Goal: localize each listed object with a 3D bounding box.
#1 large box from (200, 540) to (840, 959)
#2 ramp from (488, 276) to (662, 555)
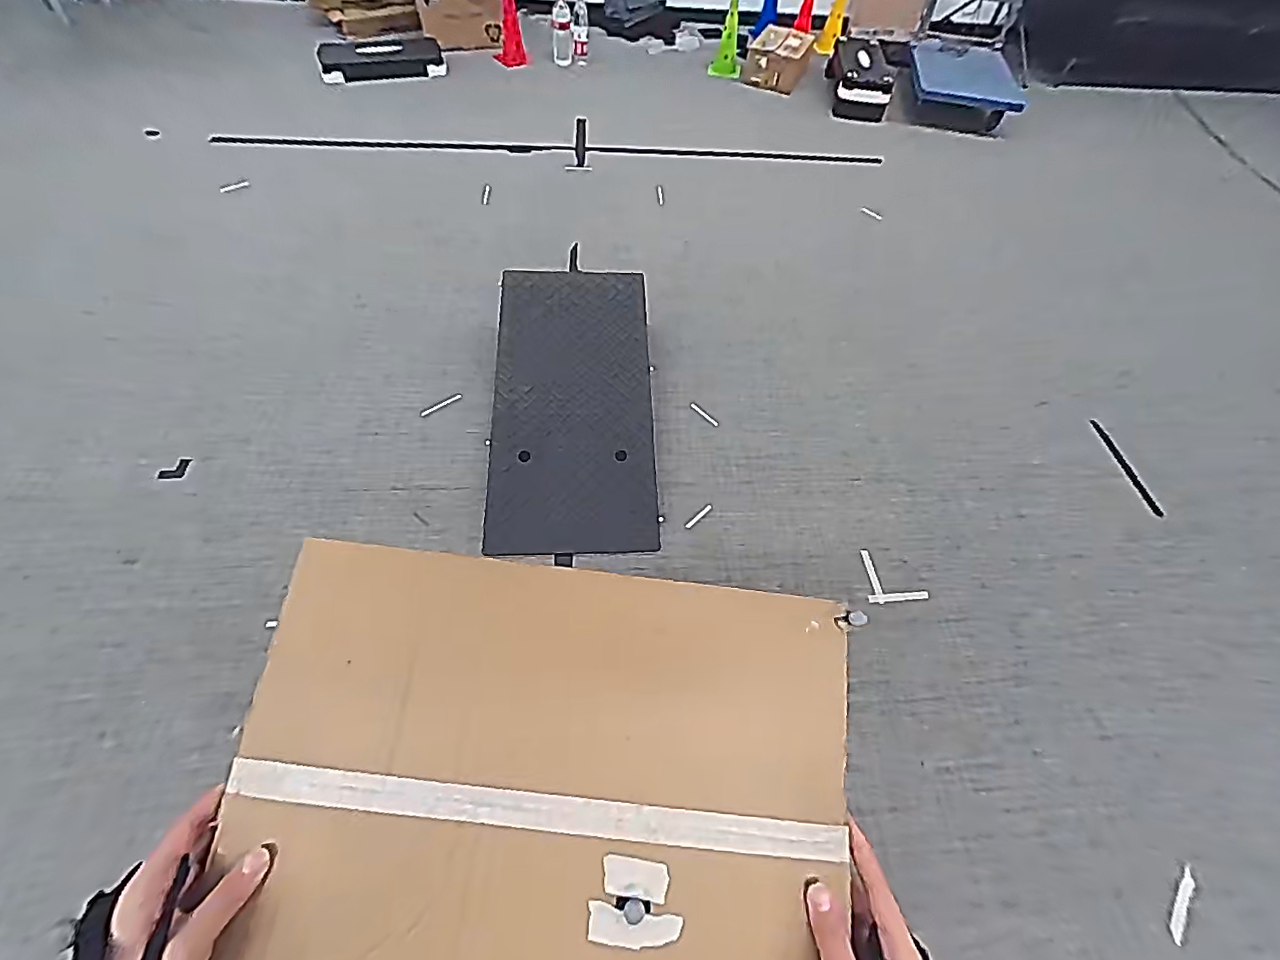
[{"bbox_3d":[-0.069,0.256,0.508,0.408,0.320,0.320,7,73,-1],"label":"large box"},{"bbox_3d":[-0.194,-0.250,1.700,0.509,0.206,0.991,-1,56,-6],"label":"ramp"}]
